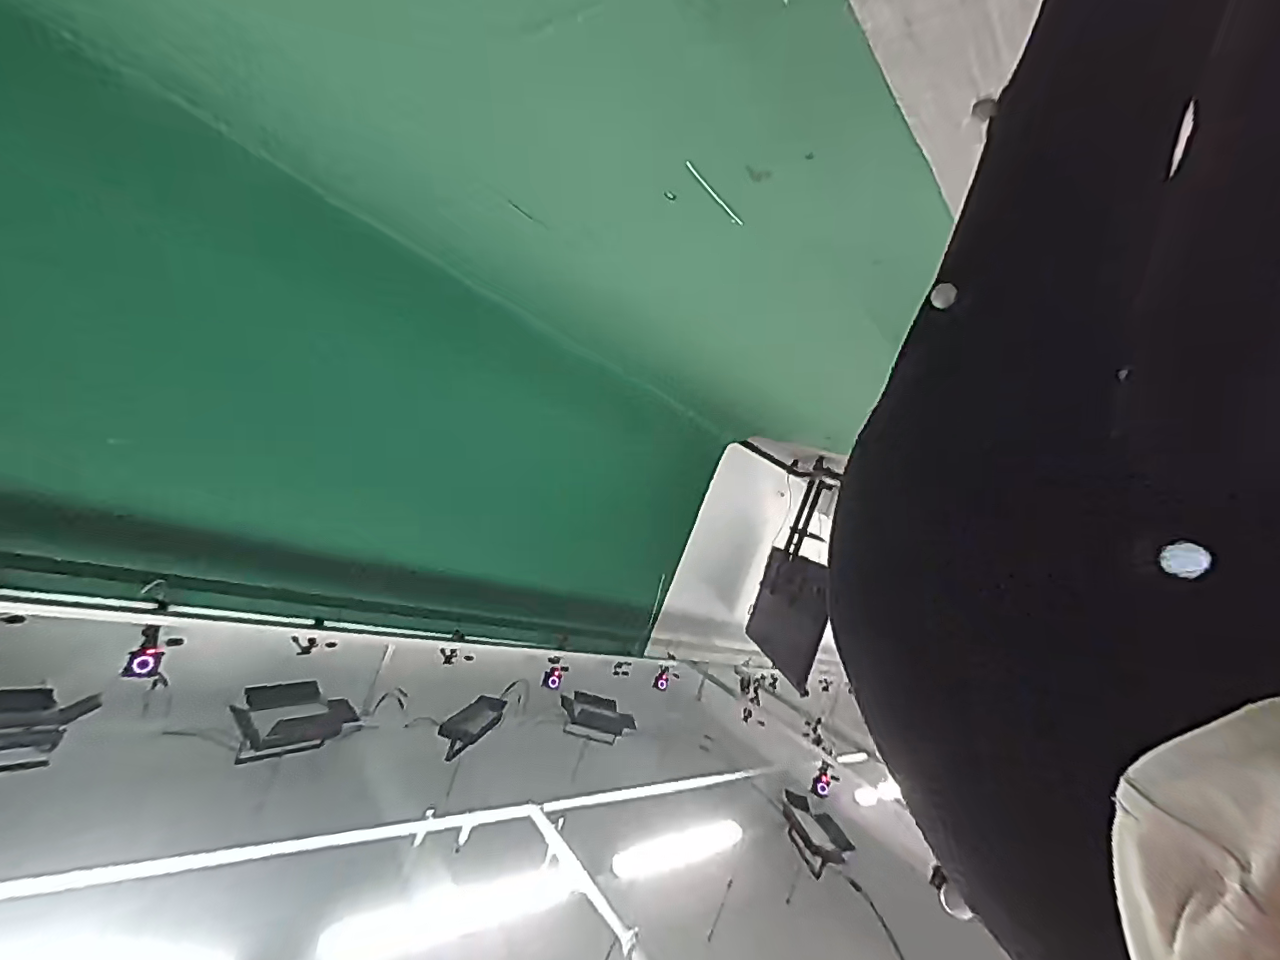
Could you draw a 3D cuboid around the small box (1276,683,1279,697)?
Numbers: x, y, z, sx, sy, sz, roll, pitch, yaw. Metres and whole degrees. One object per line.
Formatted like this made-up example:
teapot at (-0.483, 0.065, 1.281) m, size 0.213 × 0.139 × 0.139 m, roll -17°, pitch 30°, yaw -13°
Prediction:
small box at (1.762, 0.507, 1.363) m, size 0.179 × 0.176 × 0.168 m, roll 23°, pitch 178°, yaw -41°
